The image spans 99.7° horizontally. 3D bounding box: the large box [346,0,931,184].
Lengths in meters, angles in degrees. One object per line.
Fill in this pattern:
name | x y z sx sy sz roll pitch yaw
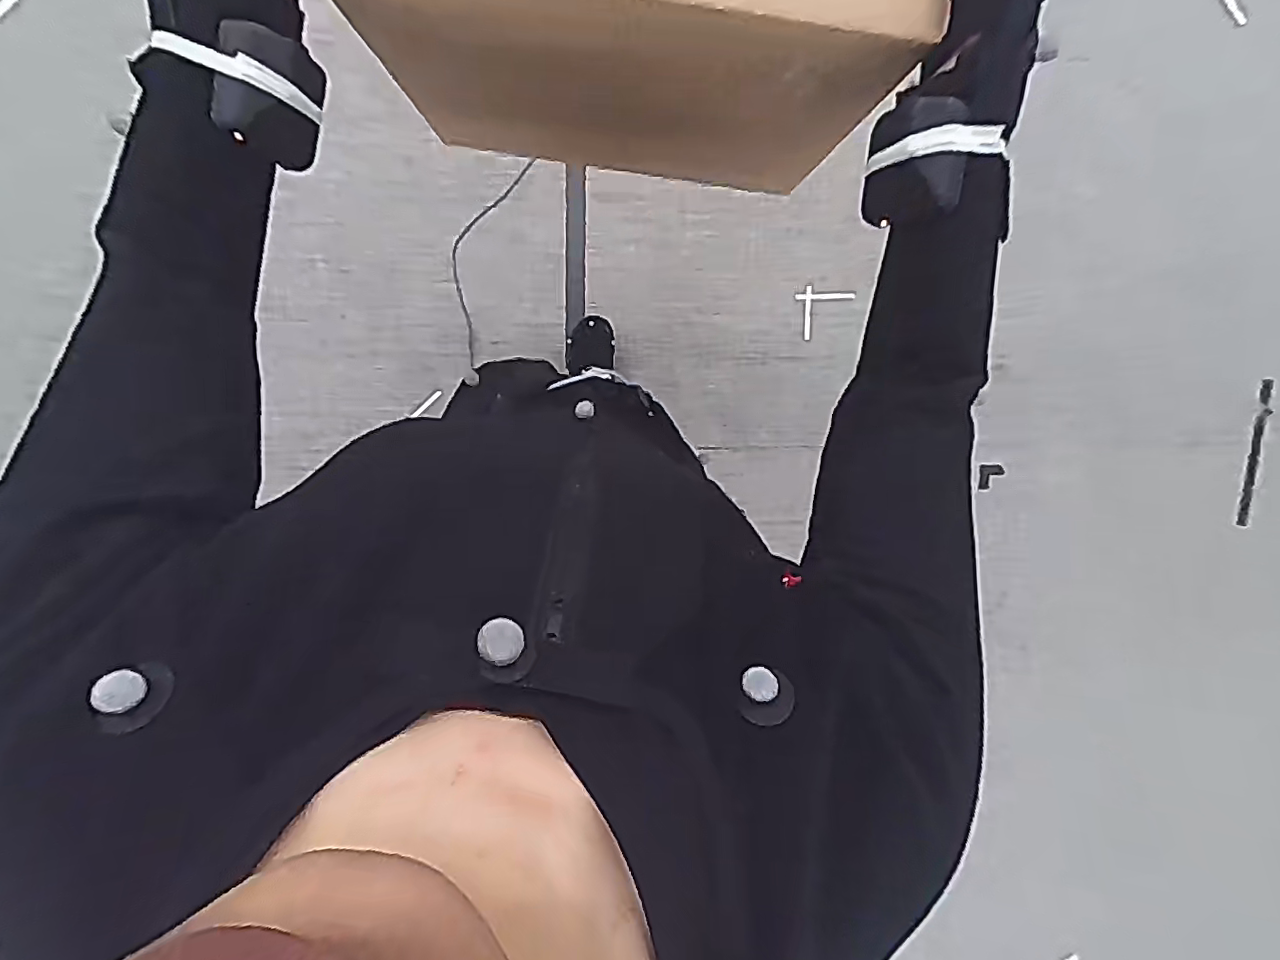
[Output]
large box | -0.005 -0.484 0.455 0.408 0.320 0.320 6 102 -4
